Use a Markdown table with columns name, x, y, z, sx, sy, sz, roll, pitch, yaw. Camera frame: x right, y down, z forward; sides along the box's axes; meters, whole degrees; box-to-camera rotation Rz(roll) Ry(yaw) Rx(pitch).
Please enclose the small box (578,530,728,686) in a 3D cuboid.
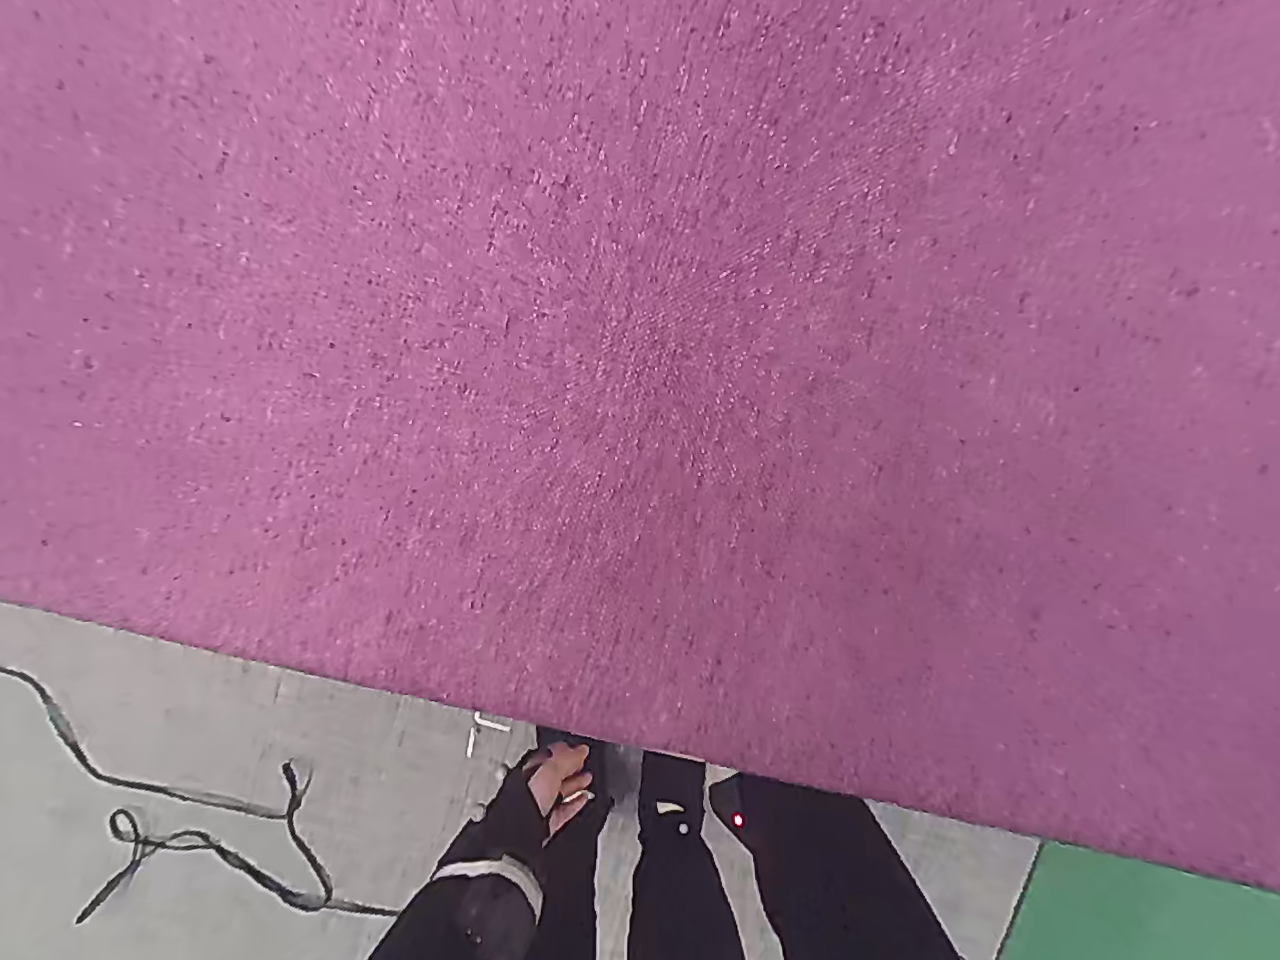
| name | x | y | z | sx | sy | sz | roll | pitch | yaw |
| --- | --- | --- | --- | --- | --- | --- | --- | --- | --- |
| small box | 0.019 | 0.181 | 0.824 | 0.179 | 0.176 | 0.168 | 15 | 95 | -1 |
